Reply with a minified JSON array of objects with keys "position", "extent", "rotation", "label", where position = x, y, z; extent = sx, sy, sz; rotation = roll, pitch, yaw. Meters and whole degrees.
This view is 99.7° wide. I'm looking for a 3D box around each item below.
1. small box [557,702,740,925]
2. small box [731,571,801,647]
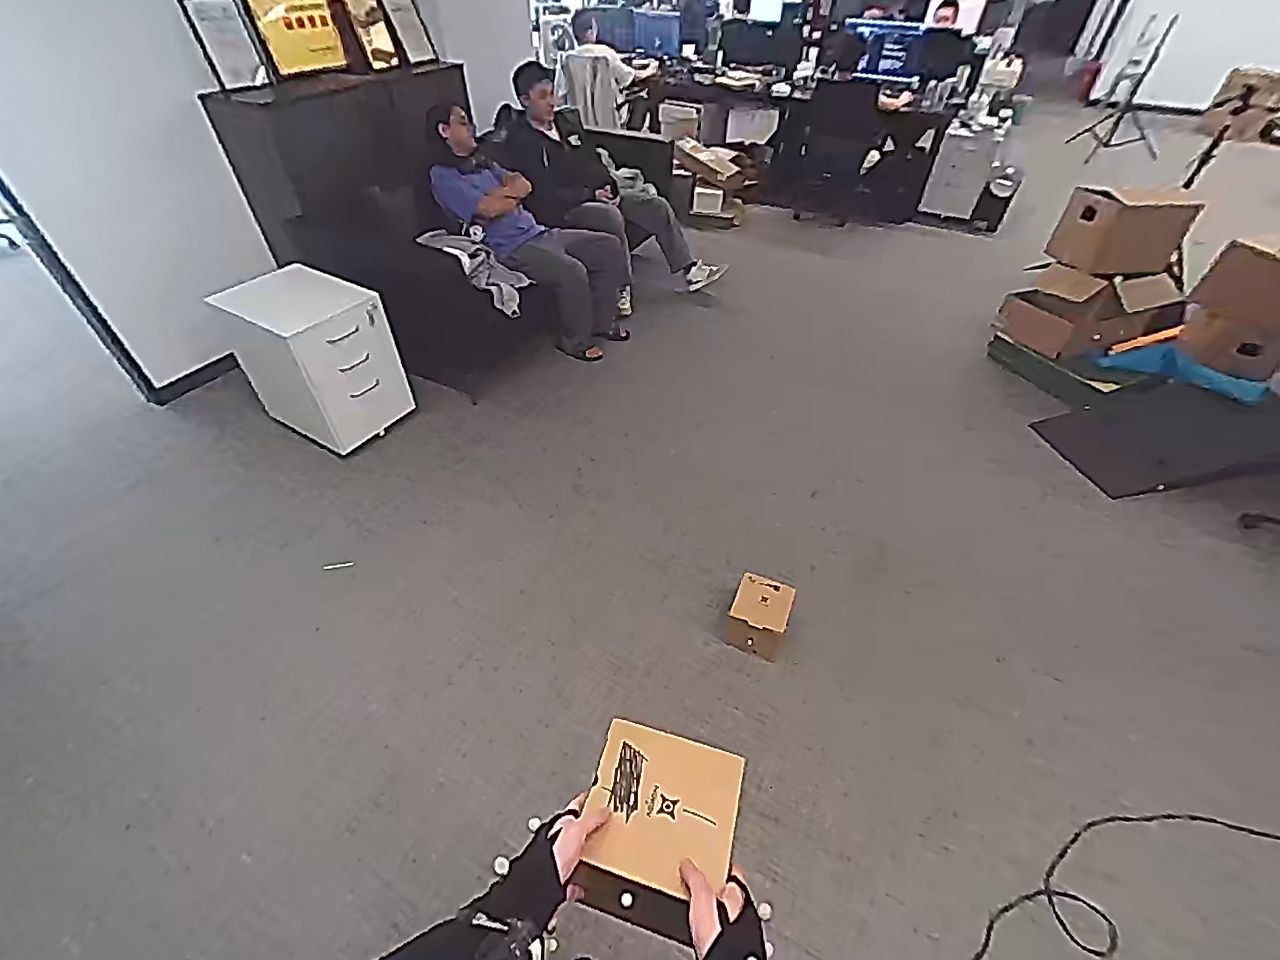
[{"position":[0.015,0.425,0.690],"extent":[0.179,0.176,0.168],"rotation":[15,42,16],"label":"small box"},{"position":[0.389,0.410,1.705],"extent":[0.179,0.176,0.168],"rotation":[-4,42,-3],"label":"small box"}]
